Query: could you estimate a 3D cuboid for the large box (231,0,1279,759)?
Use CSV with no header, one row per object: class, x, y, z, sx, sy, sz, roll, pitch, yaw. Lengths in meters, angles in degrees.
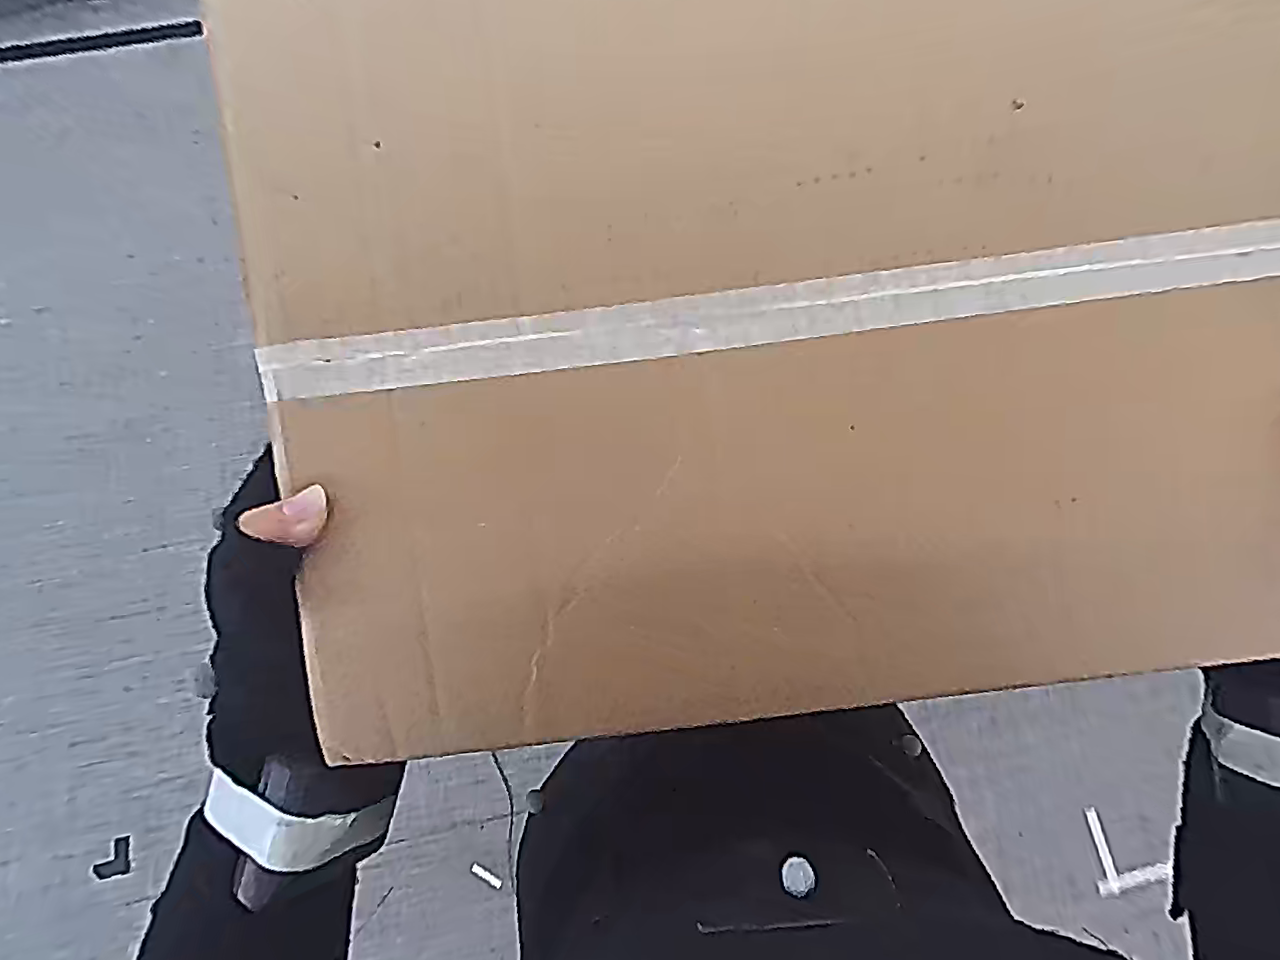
large box,0.056,-0.068,0.366,0.408,0.320,0.320,-7,93,0
